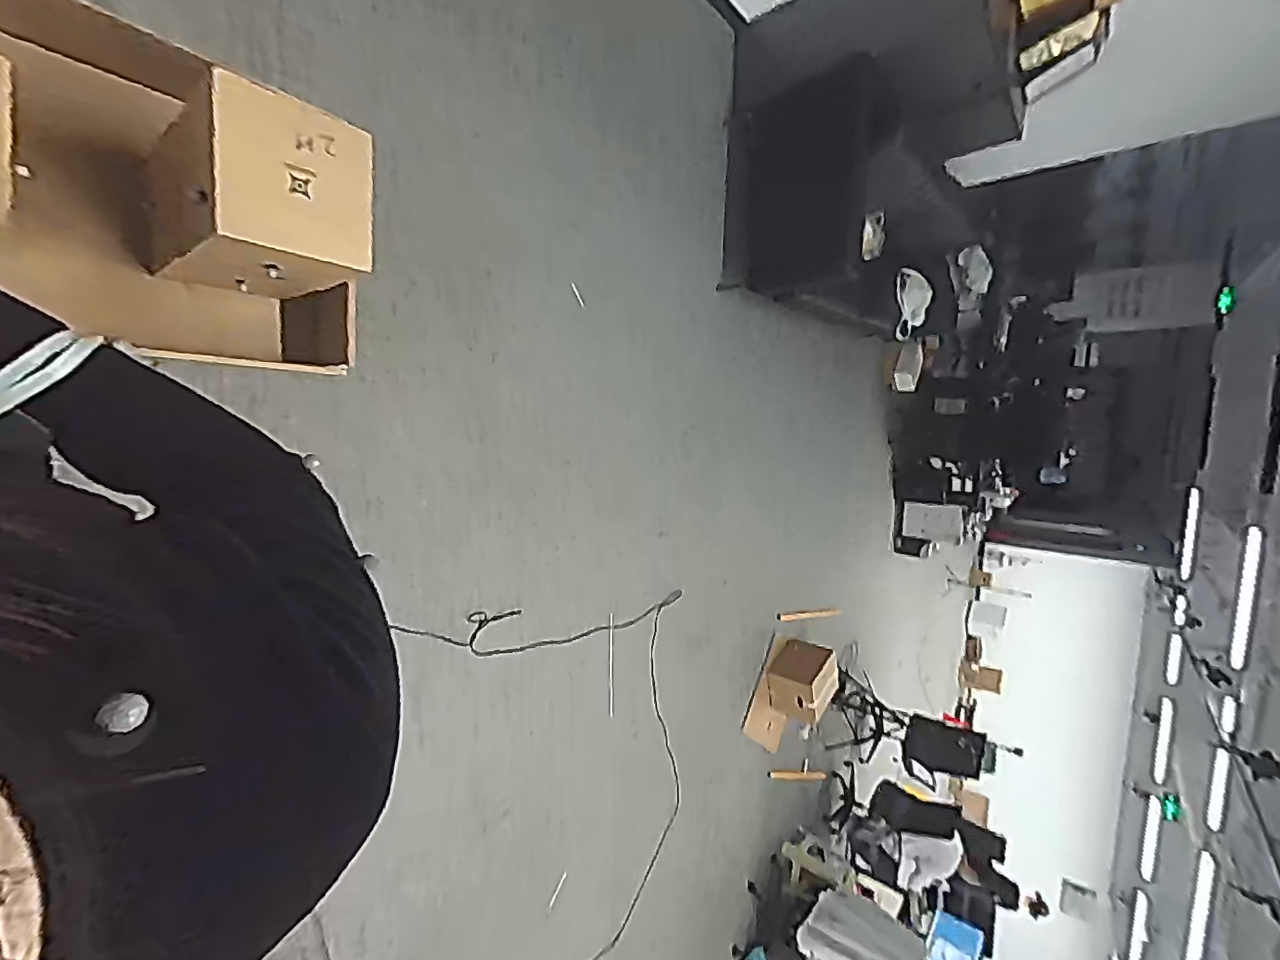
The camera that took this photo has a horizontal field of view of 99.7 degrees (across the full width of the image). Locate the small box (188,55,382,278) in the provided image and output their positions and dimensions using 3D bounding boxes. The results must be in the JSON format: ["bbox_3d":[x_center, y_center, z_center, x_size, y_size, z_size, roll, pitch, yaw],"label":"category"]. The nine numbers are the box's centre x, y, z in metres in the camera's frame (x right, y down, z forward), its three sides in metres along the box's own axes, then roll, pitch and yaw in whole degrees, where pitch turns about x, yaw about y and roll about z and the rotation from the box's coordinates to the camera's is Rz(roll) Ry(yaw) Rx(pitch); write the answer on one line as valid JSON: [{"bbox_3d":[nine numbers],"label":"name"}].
[{"bbox_3d":[-0.448,-0.370,0.684,0.168,0.176,0.179,-2,98,-50],"label":"small box"}]
